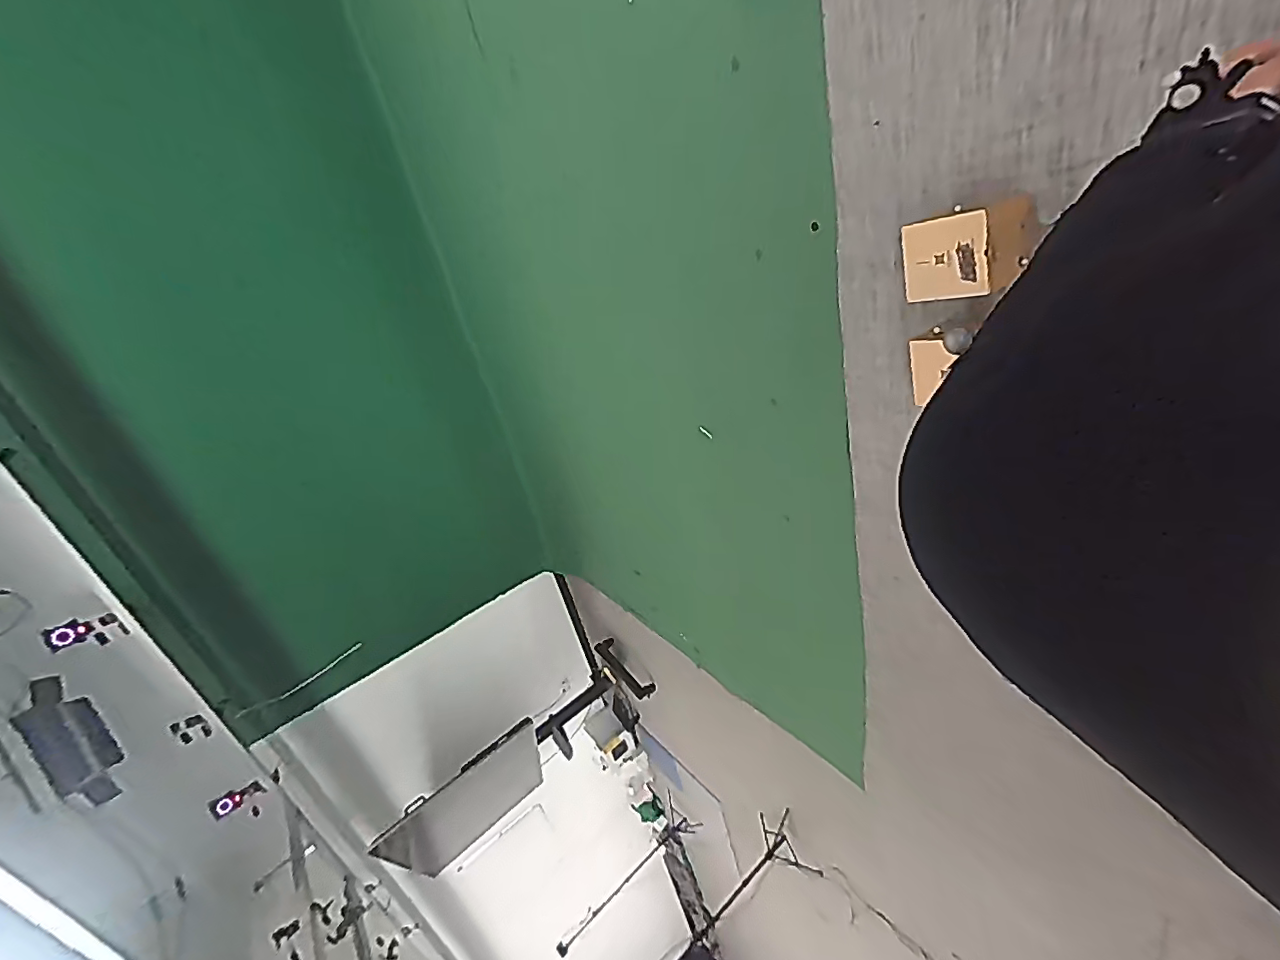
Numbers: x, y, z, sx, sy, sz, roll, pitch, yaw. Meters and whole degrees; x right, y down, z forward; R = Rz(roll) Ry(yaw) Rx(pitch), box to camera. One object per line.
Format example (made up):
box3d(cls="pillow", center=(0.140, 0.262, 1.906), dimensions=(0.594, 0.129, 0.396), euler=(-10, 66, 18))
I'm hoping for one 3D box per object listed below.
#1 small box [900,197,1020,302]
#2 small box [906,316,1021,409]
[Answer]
box3d(cls="small box", center=(0.697, -0.498, 1.174), dimensions=(0.179, 0.176, 0.168), euler=(17, 129, 53))
box3d(cls="small box", center=(0.760, -0.278, 1.271), dimensions=(0.179, 0.176, 0.168), euler=(16, 129, 53))
